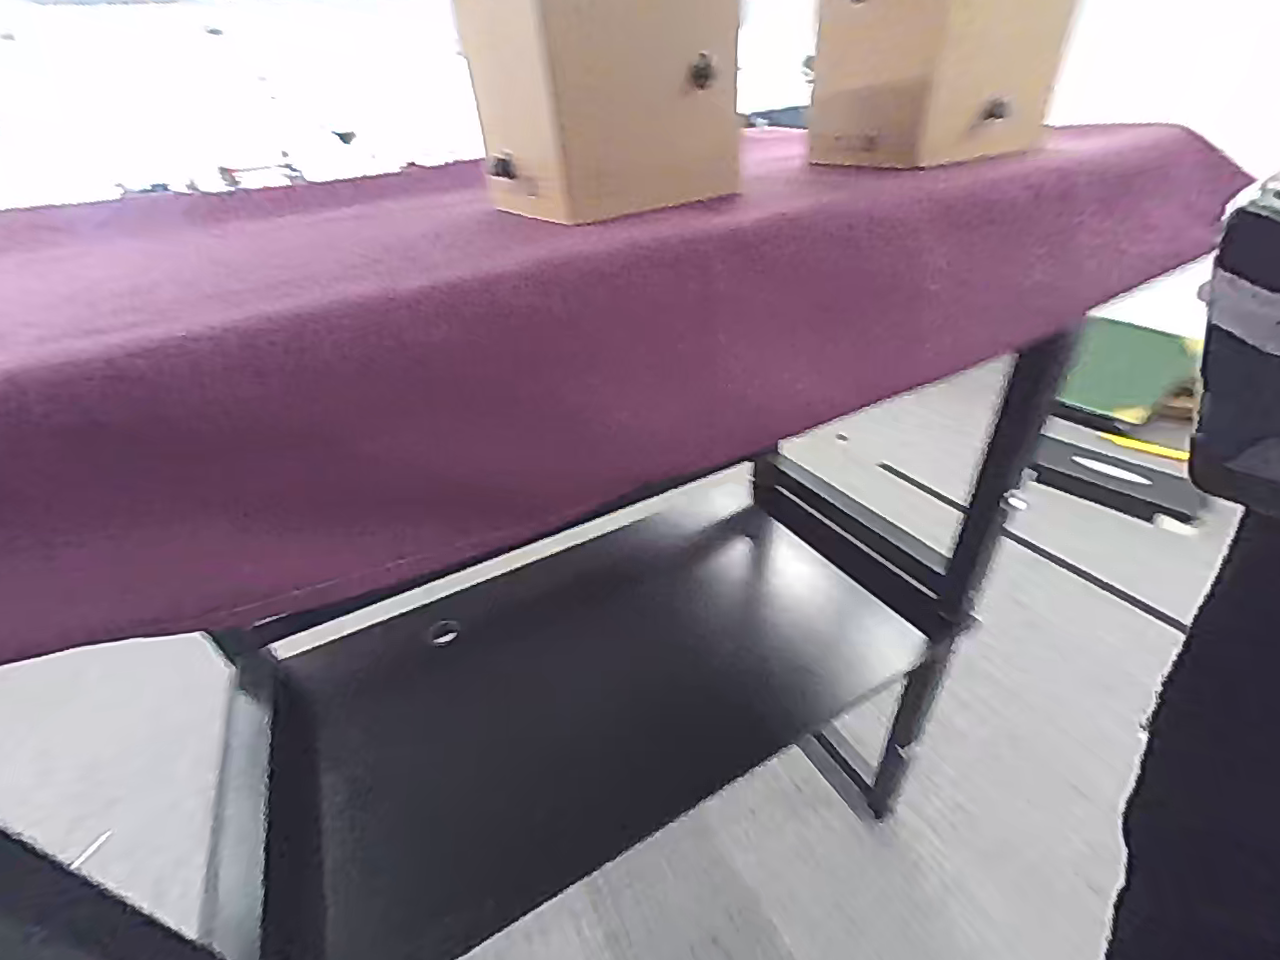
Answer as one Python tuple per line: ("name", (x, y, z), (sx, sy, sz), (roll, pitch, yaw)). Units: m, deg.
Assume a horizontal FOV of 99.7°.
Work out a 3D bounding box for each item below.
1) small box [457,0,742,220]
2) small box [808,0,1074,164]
("small box", (-0.033, -0.330, 0.455), (0.179, 0.176, 0.168), (-24, 38, -25))
("small box", (0.291, -0.427, 0.544), (0.179, 0.176, 0.168), (-18, 35, -18))
